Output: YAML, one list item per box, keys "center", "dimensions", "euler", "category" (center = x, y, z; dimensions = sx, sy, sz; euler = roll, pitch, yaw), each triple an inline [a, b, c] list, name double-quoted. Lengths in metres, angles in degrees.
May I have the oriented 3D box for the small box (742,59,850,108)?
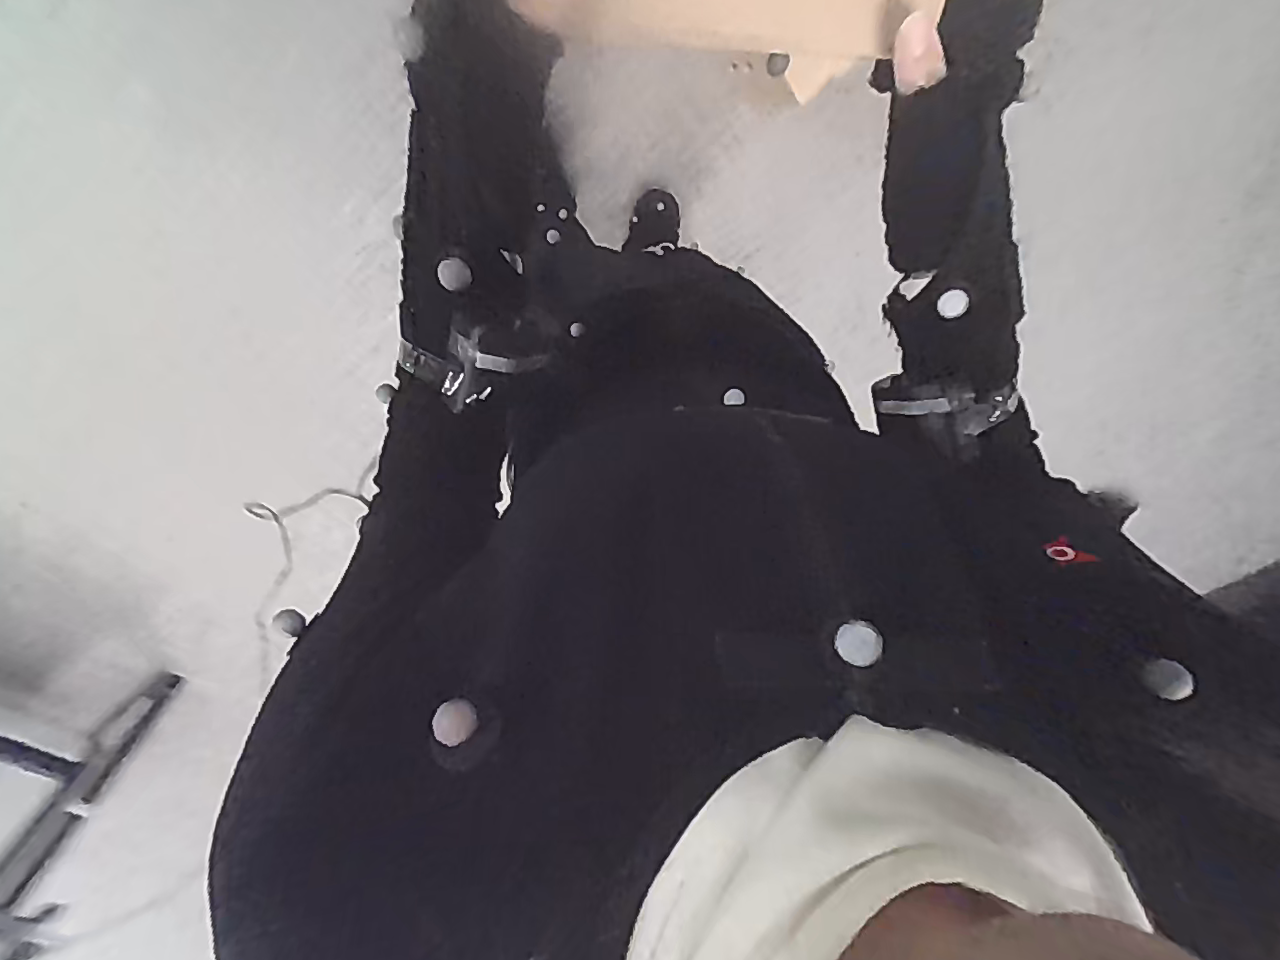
- center: [0.250, -0.731, 0.855]
  dimensions: [0.168, 0.176, 0.179]
  euler: [-38, 119, 18]
  category: "small box"

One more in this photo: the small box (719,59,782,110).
- center: [0.241, -0.821, 0.990]
  dimensions: [0.179, 0.176, 0.168]
  euler: [37, 113, -25]
  category: "small box"
